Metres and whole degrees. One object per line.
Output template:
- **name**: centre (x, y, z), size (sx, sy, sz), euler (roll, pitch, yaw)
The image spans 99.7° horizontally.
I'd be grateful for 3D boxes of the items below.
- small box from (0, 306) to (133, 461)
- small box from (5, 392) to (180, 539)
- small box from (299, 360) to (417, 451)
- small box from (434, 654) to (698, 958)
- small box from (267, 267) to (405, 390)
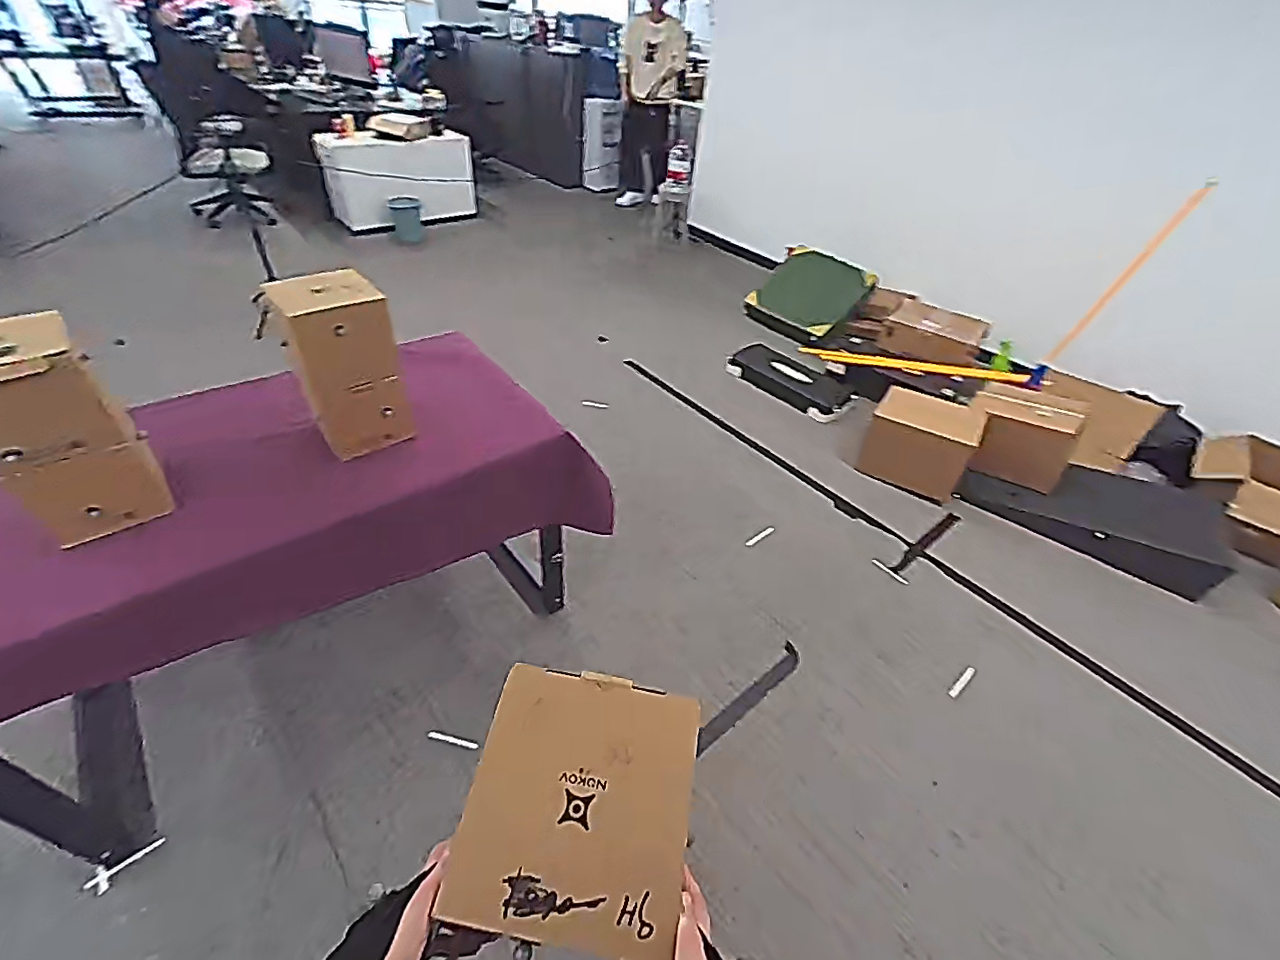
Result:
- **small box**: centre (-0.960, -0.150, 0.862), size (0.168, 0.176, 0.179), euler (-28, 52, -33)
- **small box**: centre (-0.974, -0.027, 0.971), size (0.168, 0.176, 0.179), euler (-27, 52, -32)
- **small box**: centre (-0.614, -0.182, 1.191), size (0.168, 0.176, 0.179), euler (-26, 50, -32)
- **small box**: centre (-0.051, 0.280, 0.472), size (0.168, 0.176, 0.179), euler (10, 52, 5)
- **small box**: centre (-0.598, -0.303, 1.080), size (0.179, 0.176, 0.168), euler (-27, 52, -33)
